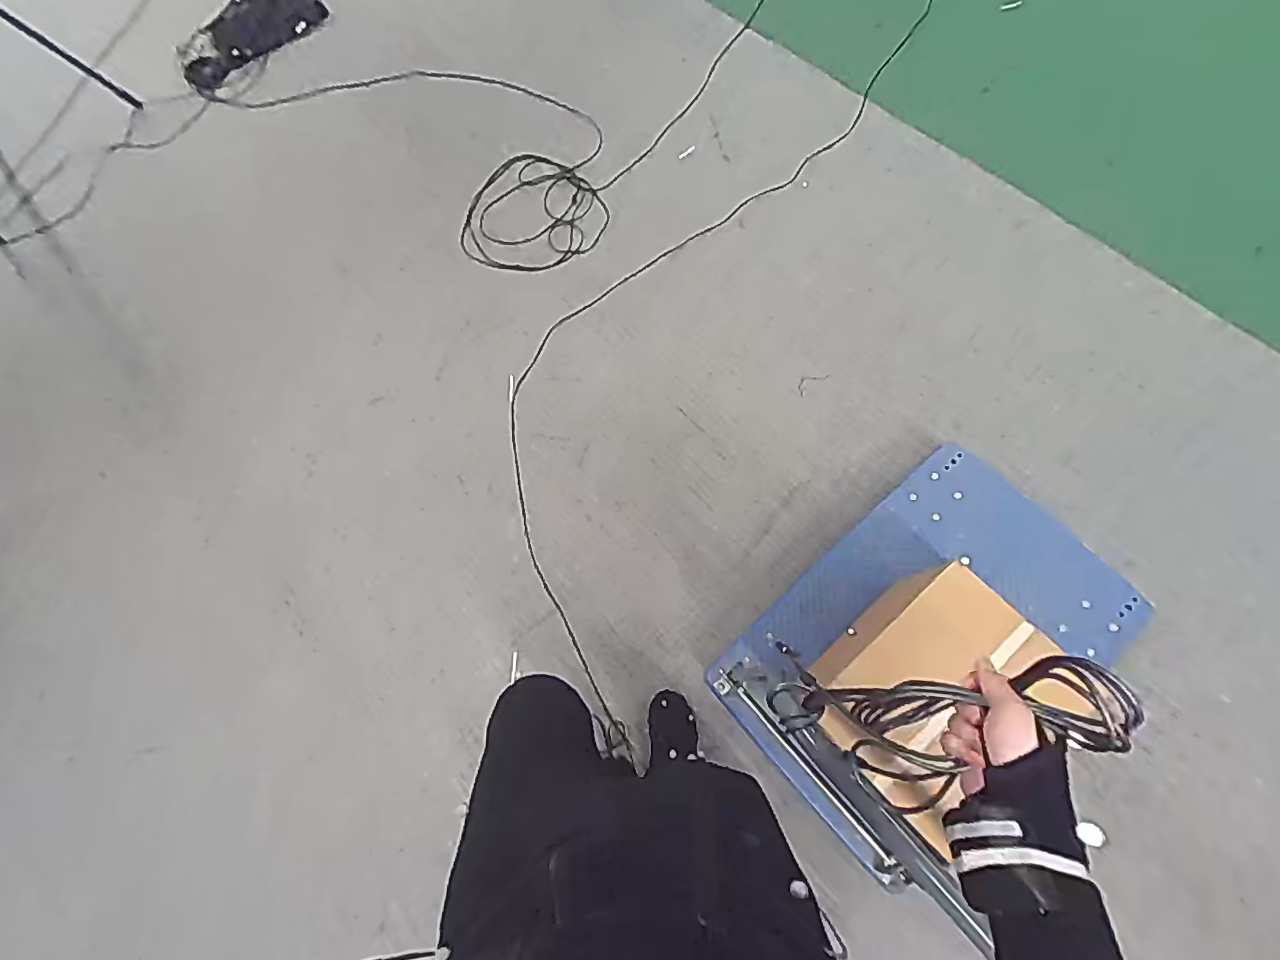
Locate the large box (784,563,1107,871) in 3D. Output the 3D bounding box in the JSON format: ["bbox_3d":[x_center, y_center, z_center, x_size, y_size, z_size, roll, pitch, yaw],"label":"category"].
[{"bbox_3d":[0.549,0.432,1.057,0.408,0.320,0.320,-40,73,-9],"label":"large box"}]
